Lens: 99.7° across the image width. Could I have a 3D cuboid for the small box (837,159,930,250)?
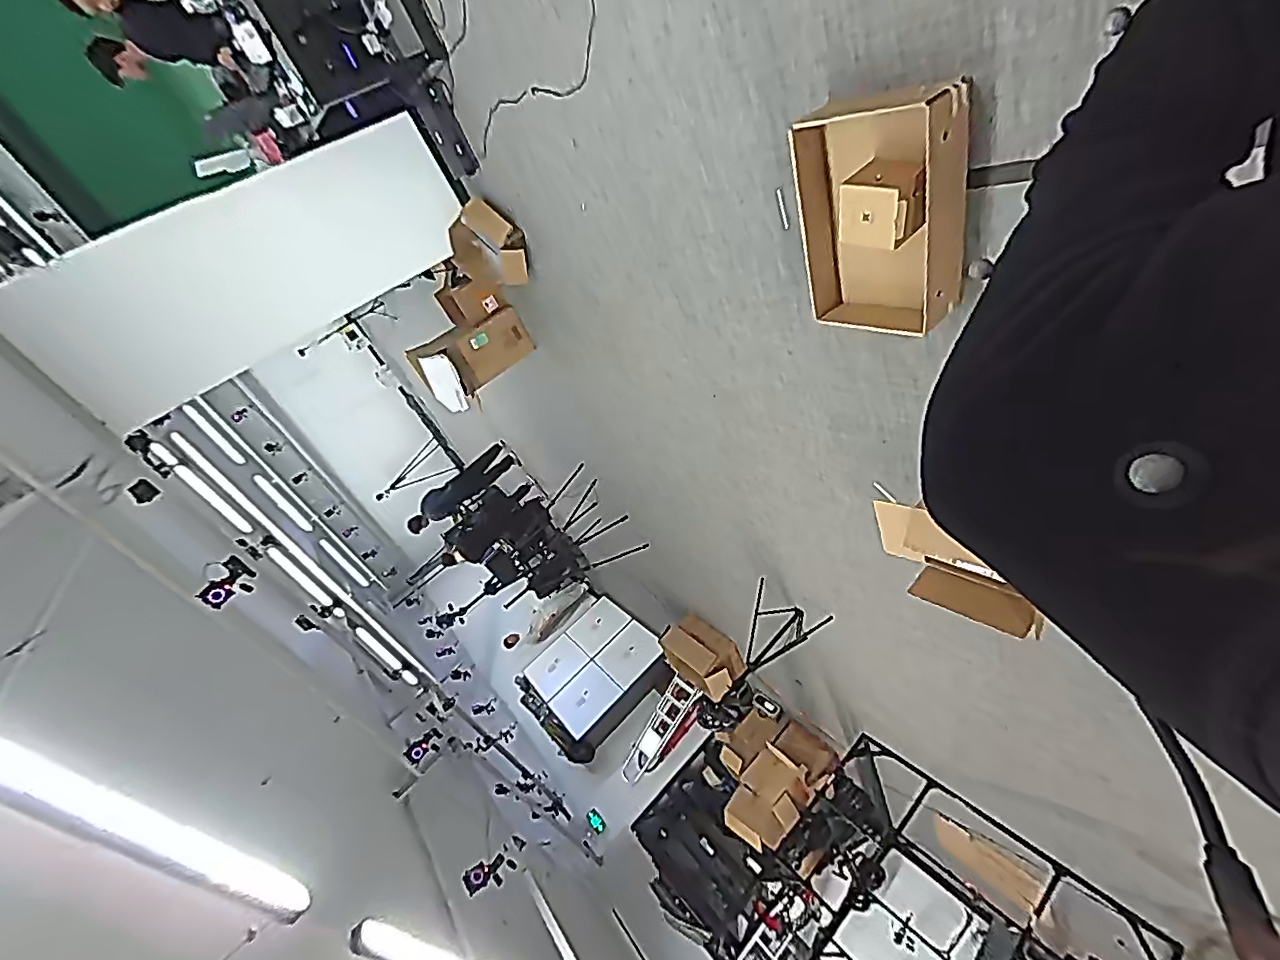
[{"bbox_3d":[0.675,-0.770,1.504,0.179,0.176,0.168,32,154,38],"label":"small box"}]
